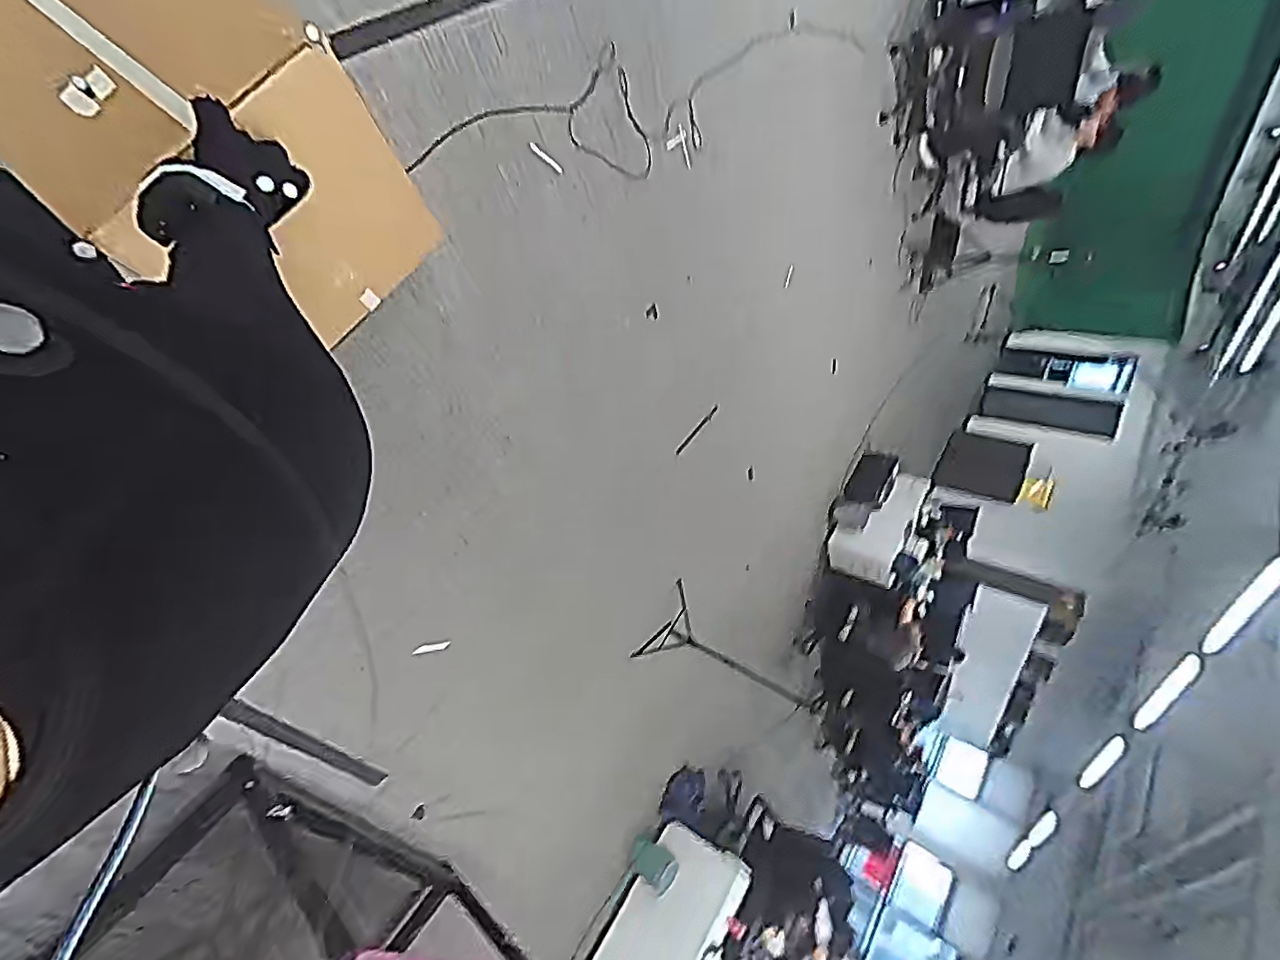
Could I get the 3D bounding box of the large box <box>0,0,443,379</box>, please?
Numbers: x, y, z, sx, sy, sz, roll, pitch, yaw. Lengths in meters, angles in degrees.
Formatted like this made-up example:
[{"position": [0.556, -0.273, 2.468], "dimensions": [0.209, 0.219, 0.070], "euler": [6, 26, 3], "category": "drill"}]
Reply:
[{"position": [-0.563, -0.417, 0.736], "dimensions": [0.320, 0.408, 0.320], "euler": [-49, 168, -8], "category": "large box"}]
